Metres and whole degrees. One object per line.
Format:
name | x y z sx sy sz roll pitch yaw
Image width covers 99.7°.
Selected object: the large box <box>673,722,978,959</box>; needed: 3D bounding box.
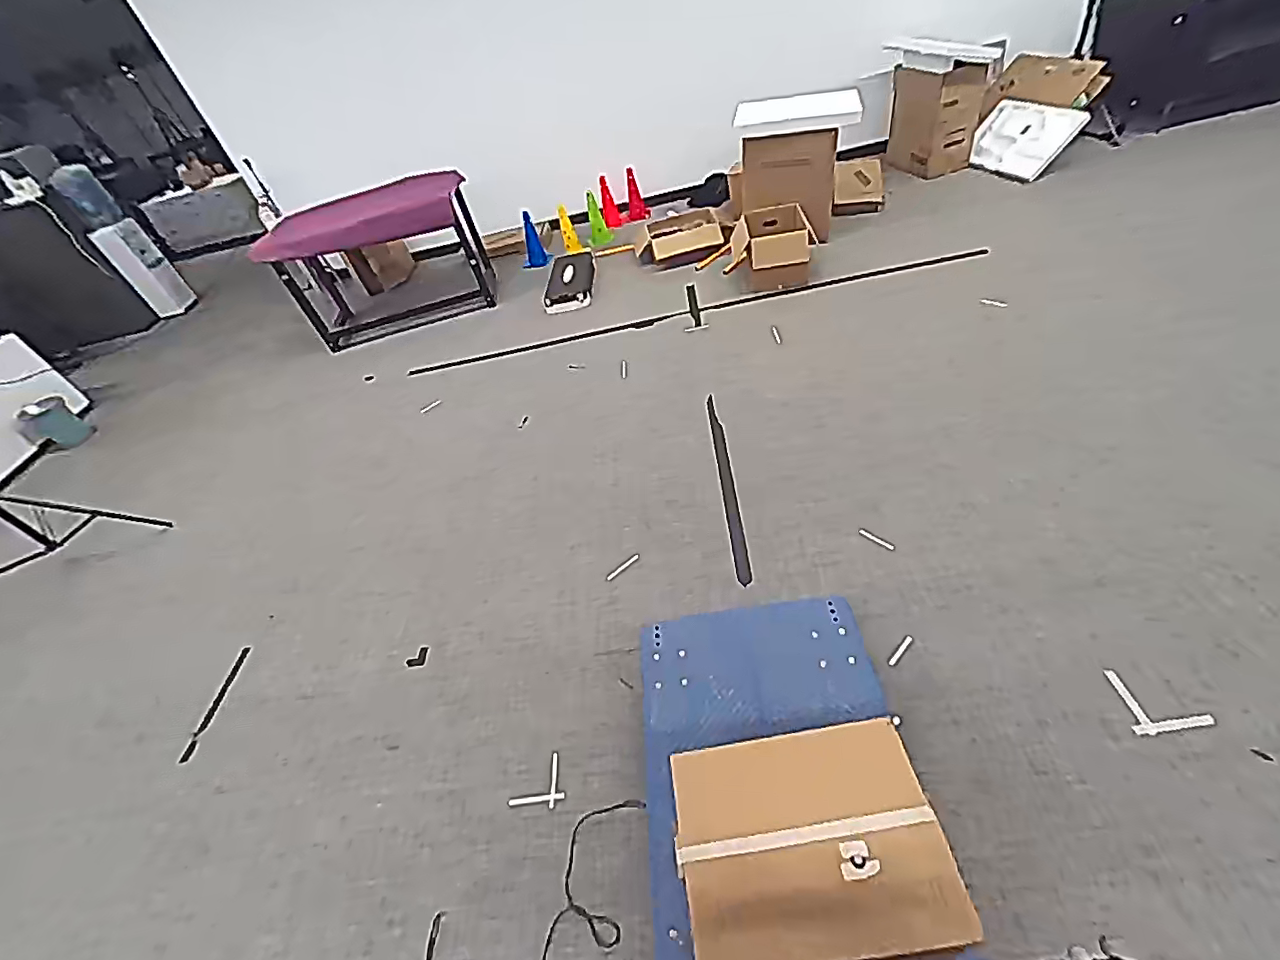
large box | 0.294 0.685 0.973 0.408 0.320 0.320 -12 43 4
